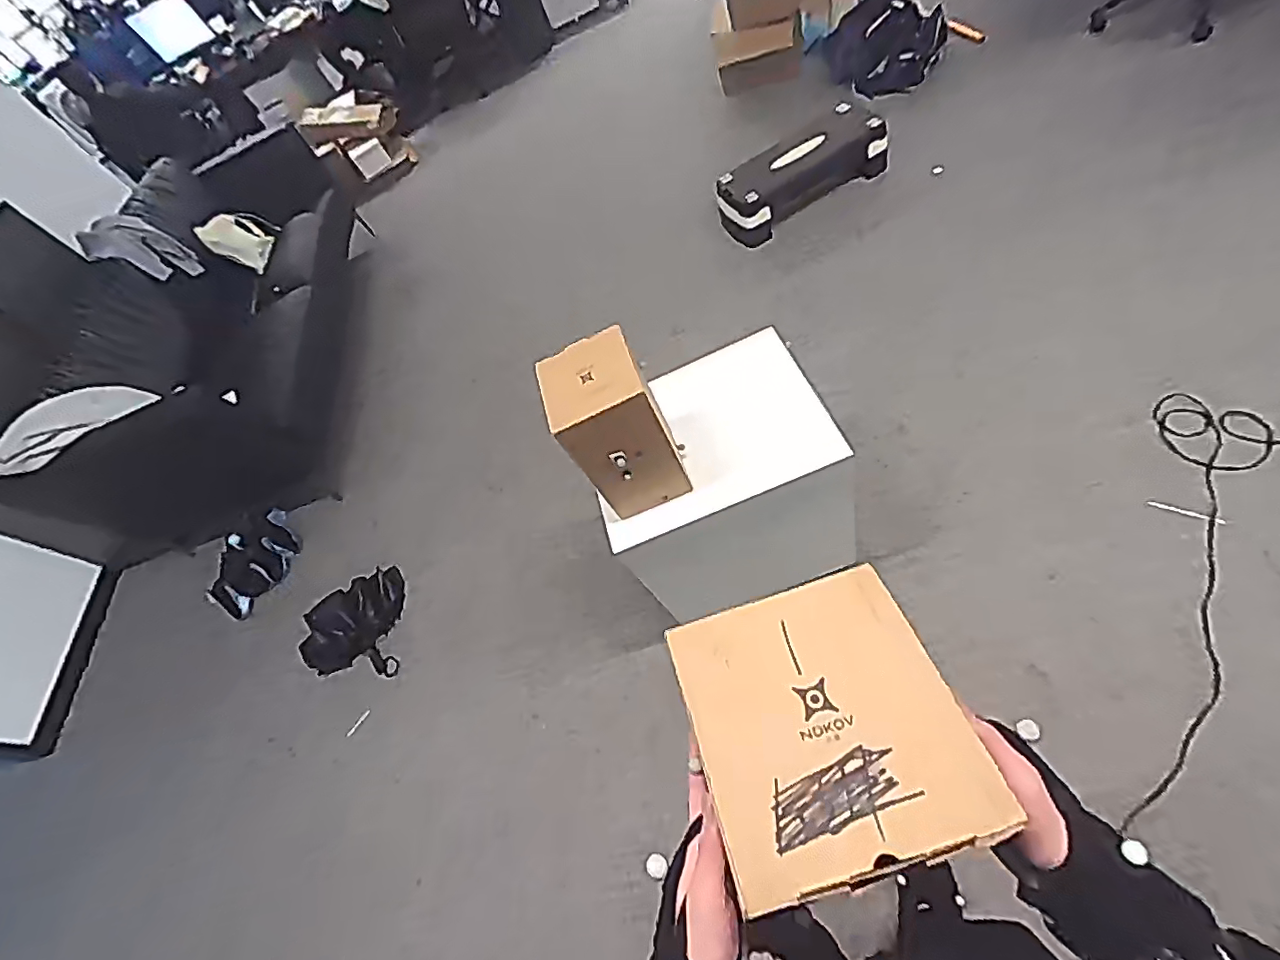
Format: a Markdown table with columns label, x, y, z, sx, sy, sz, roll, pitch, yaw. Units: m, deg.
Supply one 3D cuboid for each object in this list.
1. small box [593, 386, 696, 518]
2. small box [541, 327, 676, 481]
| label | x | y | z | sx | sy | sz | roll | pitch | yaw |
| --- | --- | --- | --- | --- | --- | --- | --- | --- | --- |
| small box | -0.002 | -0.052 | 1.098 | 0.168 | 0.176 | 0.179 | -23 | 53 | 8 |
| small box | -0.054 | -0.129 | 0.964 | 0.168 | 0.176 | 0.179 | -25 | 55 | 8 |
